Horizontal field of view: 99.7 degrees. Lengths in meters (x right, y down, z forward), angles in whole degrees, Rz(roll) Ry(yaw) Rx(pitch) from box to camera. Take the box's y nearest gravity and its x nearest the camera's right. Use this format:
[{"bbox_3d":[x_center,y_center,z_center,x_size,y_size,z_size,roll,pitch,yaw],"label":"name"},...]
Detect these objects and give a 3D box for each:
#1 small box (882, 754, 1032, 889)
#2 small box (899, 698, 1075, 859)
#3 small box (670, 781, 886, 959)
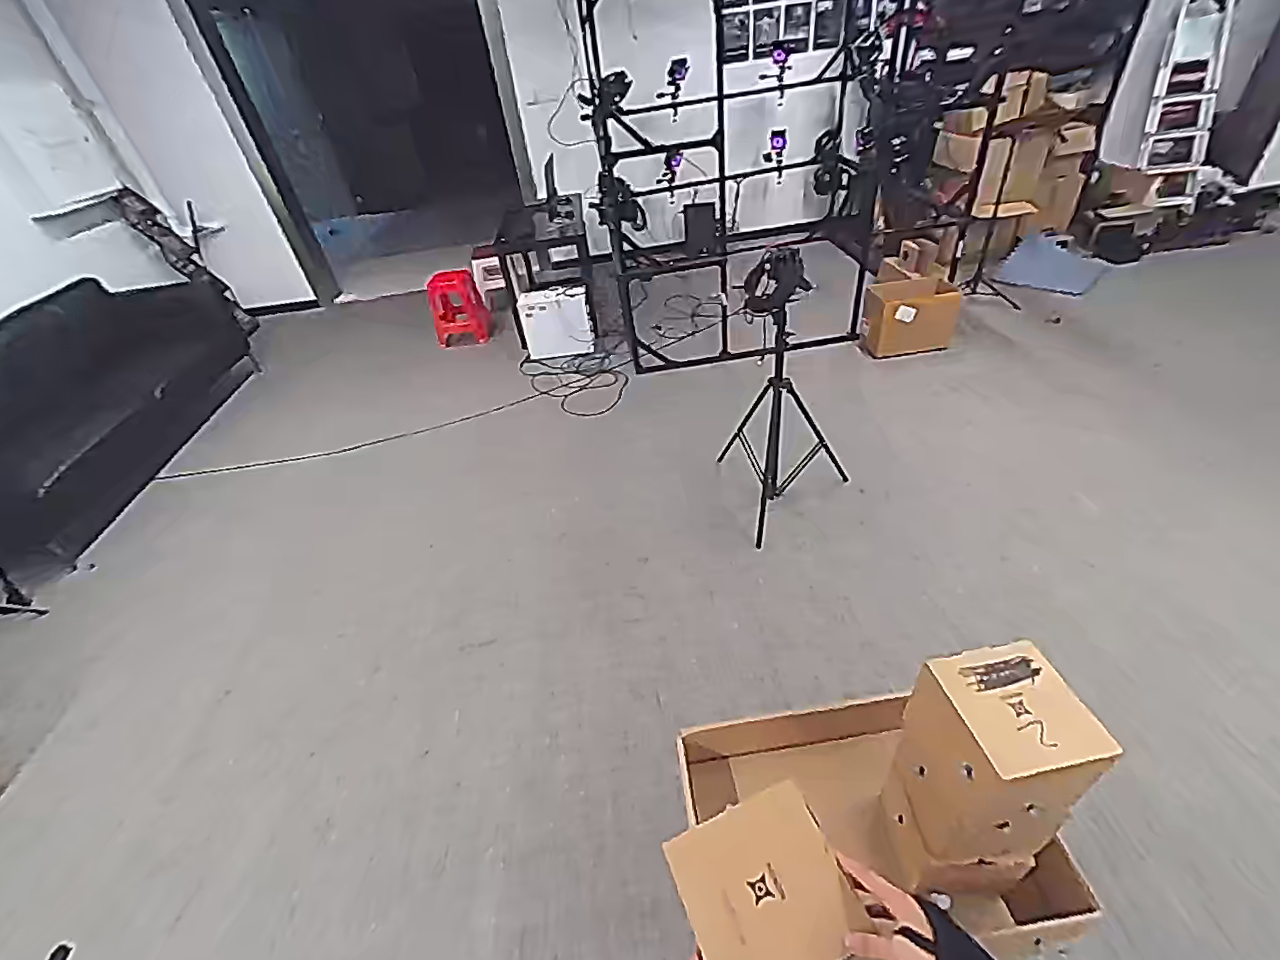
[{"bbox_3d":[0.564,0.625,0.990,0.168,0.176,0.179,-4,38,4],"label":"small box"},{"bbox_3d":[0.552,0.492,0.894,0.168,0.176,0.179,-7,38,2],"label":"small box"},{"bbox_3d":[0.154,0.497,0.639,0.179,0.176,0.168,-23,44,-8],"label":"small box"}]
